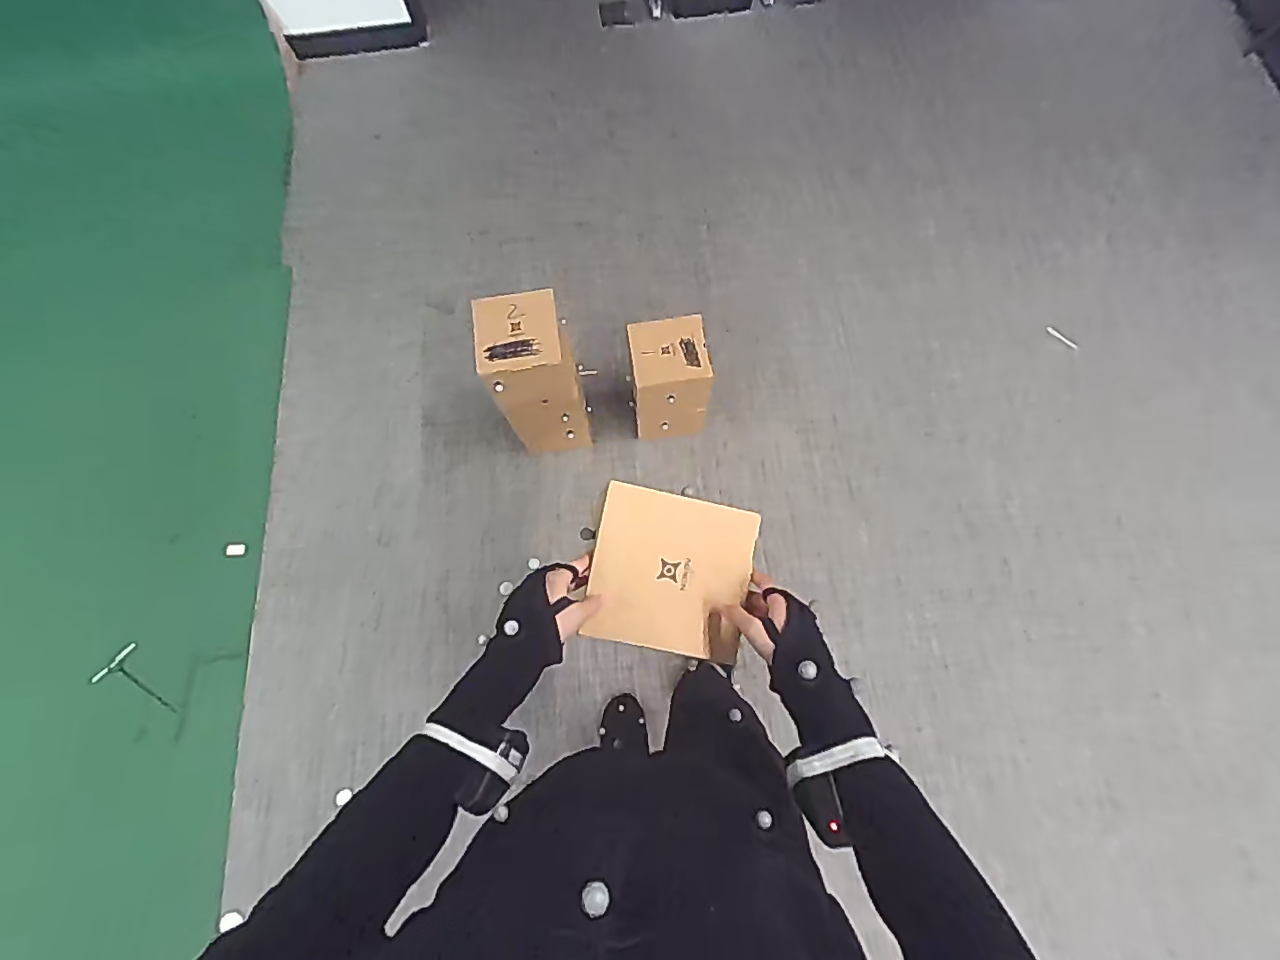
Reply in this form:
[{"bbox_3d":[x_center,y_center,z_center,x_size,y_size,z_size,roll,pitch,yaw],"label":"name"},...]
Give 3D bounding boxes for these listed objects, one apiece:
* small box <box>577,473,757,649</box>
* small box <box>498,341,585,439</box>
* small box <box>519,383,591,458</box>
[{"bbox_3d":[0.022,0.100,0.670,0.179,0.176,0.168,13,80,-7],"label":"small box"},{"bbox_3d":[-0.232,-0.212,1.311,0.179,0.176,0.168,-10,72,0],"label":"small box"},{"bbox_3d":[-0.232,-0.173,1.470,0.179,0.176,0.168,-10,72,-1],"label":"small box"}]
